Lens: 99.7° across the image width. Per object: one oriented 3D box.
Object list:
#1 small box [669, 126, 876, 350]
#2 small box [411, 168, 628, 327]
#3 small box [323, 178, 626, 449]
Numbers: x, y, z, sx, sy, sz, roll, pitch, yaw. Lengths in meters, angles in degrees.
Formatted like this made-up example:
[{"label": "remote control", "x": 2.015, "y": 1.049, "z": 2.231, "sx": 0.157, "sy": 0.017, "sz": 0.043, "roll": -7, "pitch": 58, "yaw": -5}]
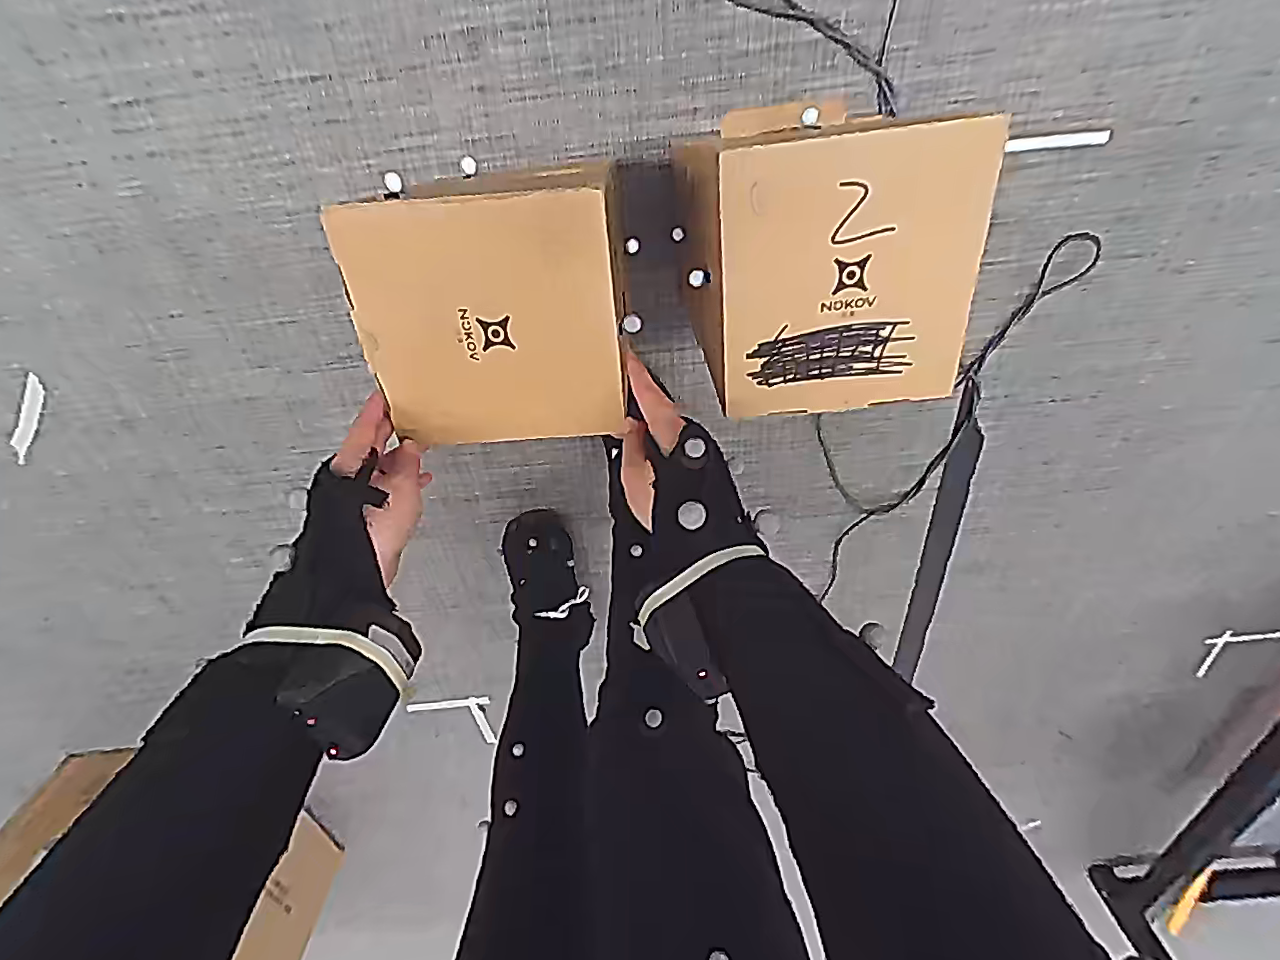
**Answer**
[{"label": "small box", "x": 0.122, "y": -0.254, "z": 0.562, "sx": 0.168, "sy": 0.176, "sz": 0.179, "roll": -6, "pitch": 123, "yaw": 2}, {"label": "small box", "x": -0.108, "y": -0.227, "z": 0.572, "sx": 0.179, "sy": 0.176, "sz": 0.168, "roll": -4, "pitch": 123, "yaw": 3}, {"label": "small box", "x": -0.104, "y": -0.140, "z": 0.436, "sx": 0.179, "sy": 0.176, "sz": 0.168, "roll": -4, "pitch": 122, "yaw": 2}]
